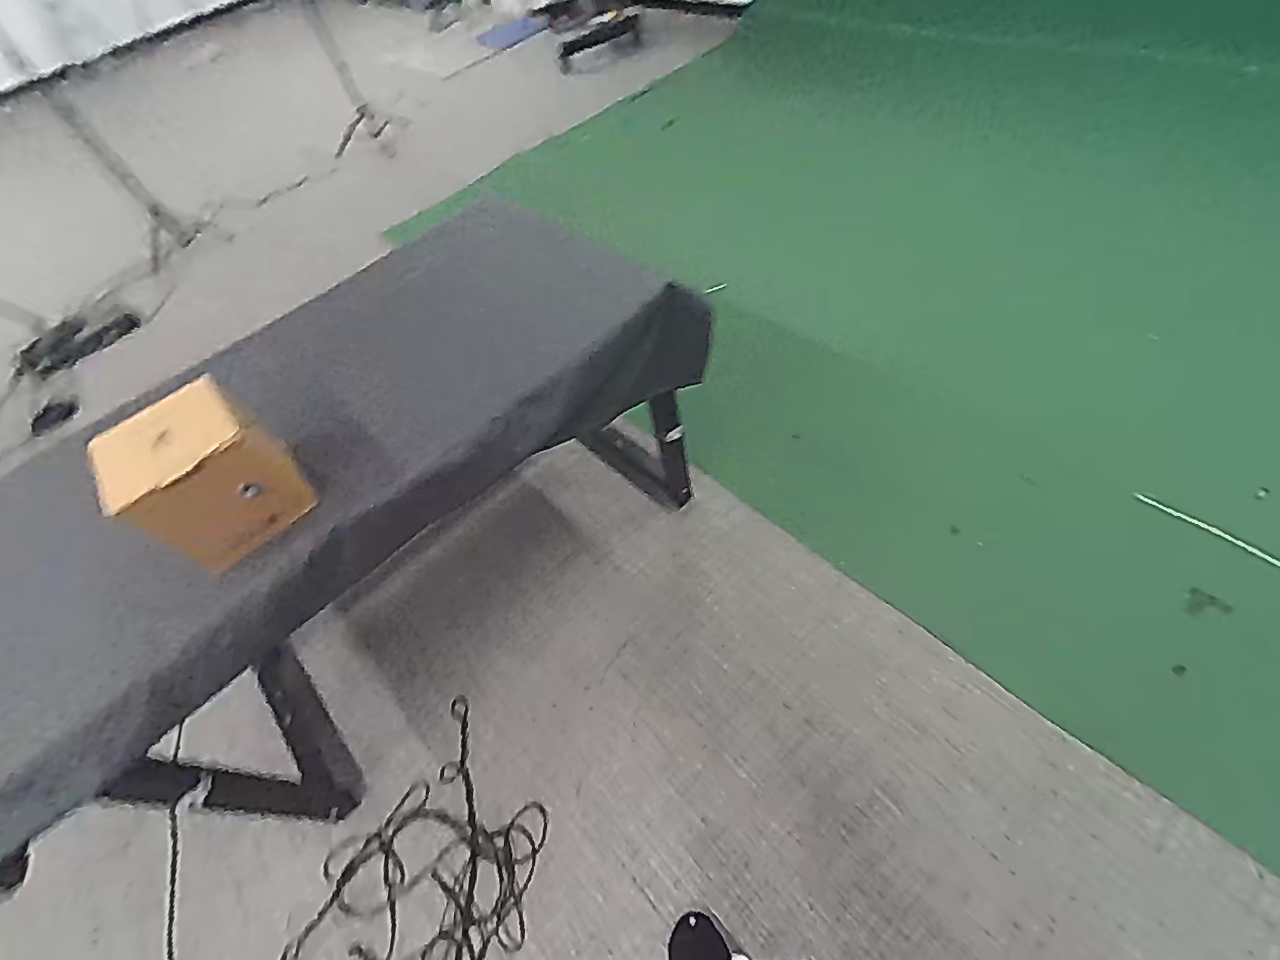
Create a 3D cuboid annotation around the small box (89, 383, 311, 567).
[{"bbox_3d":[-0.615,0.000,0.773,0.168,0.176,0.179,-40,56,-19],"label":"small box"}]
